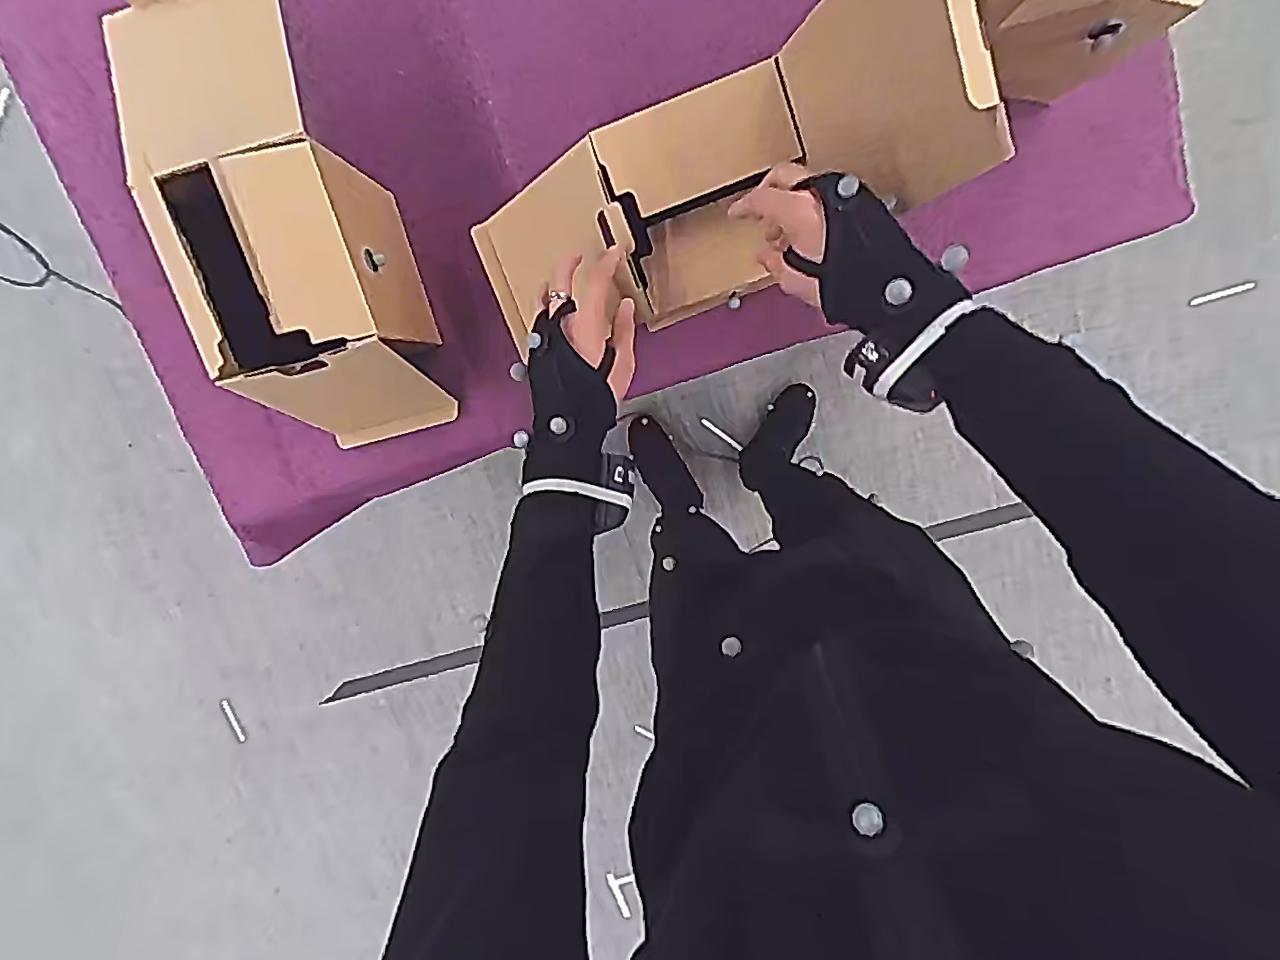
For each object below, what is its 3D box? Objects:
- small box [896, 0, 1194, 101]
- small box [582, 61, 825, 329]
[{"bbox_3d":[0.374,-0.485,0.498,0.179,0.176,0.168,8,101,-1],"label":"small box"},{"bbox_3d":[0.058,-0.262,0.548,0.179,0.176,0.168,-20,102,4],"label":"small box"}]
